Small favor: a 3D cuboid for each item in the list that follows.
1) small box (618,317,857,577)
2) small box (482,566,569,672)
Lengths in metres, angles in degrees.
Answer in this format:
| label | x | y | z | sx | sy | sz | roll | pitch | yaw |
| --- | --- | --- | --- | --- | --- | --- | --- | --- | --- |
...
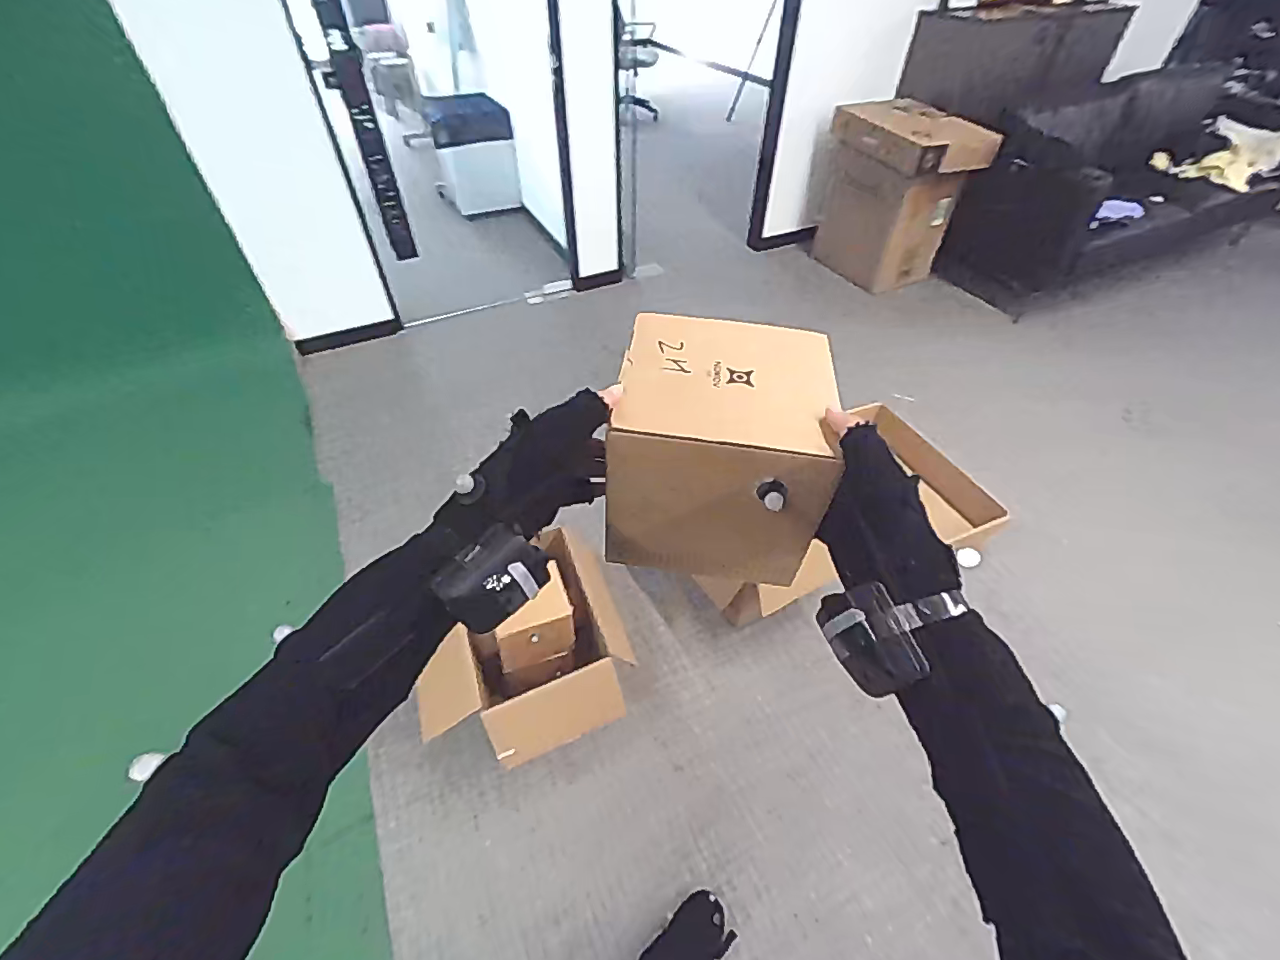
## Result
| label | x | y | z | sx | sy | sz | roll | pitch | yaw |
| --- | --- | --- | --- | --- | --- | --- | --- | --- | --- |
| small box | 0.079 | -0.028 | 0.509 | 0.179 | 0.176 | 0.168 | 8 | 46 | 3 |
| small box | -0.279 | 0.344 | 1.335 | 0.179 | 0.176 | 0.168 | -15 | 48 | -16 |
